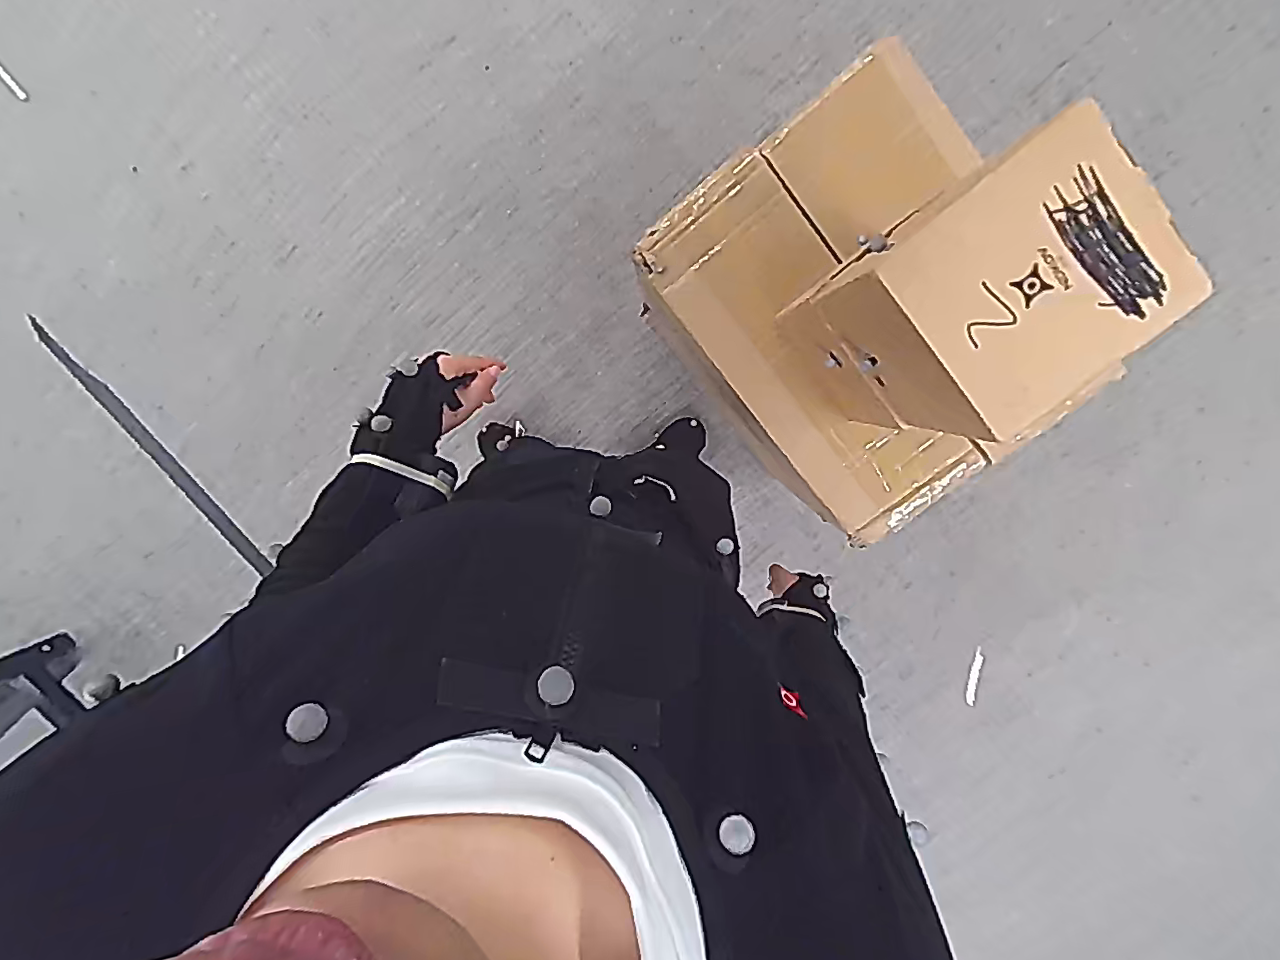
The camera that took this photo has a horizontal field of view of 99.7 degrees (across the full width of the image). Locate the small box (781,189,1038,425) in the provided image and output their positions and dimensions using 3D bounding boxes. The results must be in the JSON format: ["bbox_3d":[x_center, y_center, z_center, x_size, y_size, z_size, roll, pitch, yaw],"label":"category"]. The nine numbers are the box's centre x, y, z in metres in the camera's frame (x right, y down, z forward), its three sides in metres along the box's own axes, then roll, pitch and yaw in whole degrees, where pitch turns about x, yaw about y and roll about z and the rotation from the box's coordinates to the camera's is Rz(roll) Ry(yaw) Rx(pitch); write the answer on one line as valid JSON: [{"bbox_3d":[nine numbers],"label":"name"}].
[{"bbox_3d":[0.288,-0.183,0.623,0.168,0.176,0.179,-38,96,9],"label":"small box"}]
